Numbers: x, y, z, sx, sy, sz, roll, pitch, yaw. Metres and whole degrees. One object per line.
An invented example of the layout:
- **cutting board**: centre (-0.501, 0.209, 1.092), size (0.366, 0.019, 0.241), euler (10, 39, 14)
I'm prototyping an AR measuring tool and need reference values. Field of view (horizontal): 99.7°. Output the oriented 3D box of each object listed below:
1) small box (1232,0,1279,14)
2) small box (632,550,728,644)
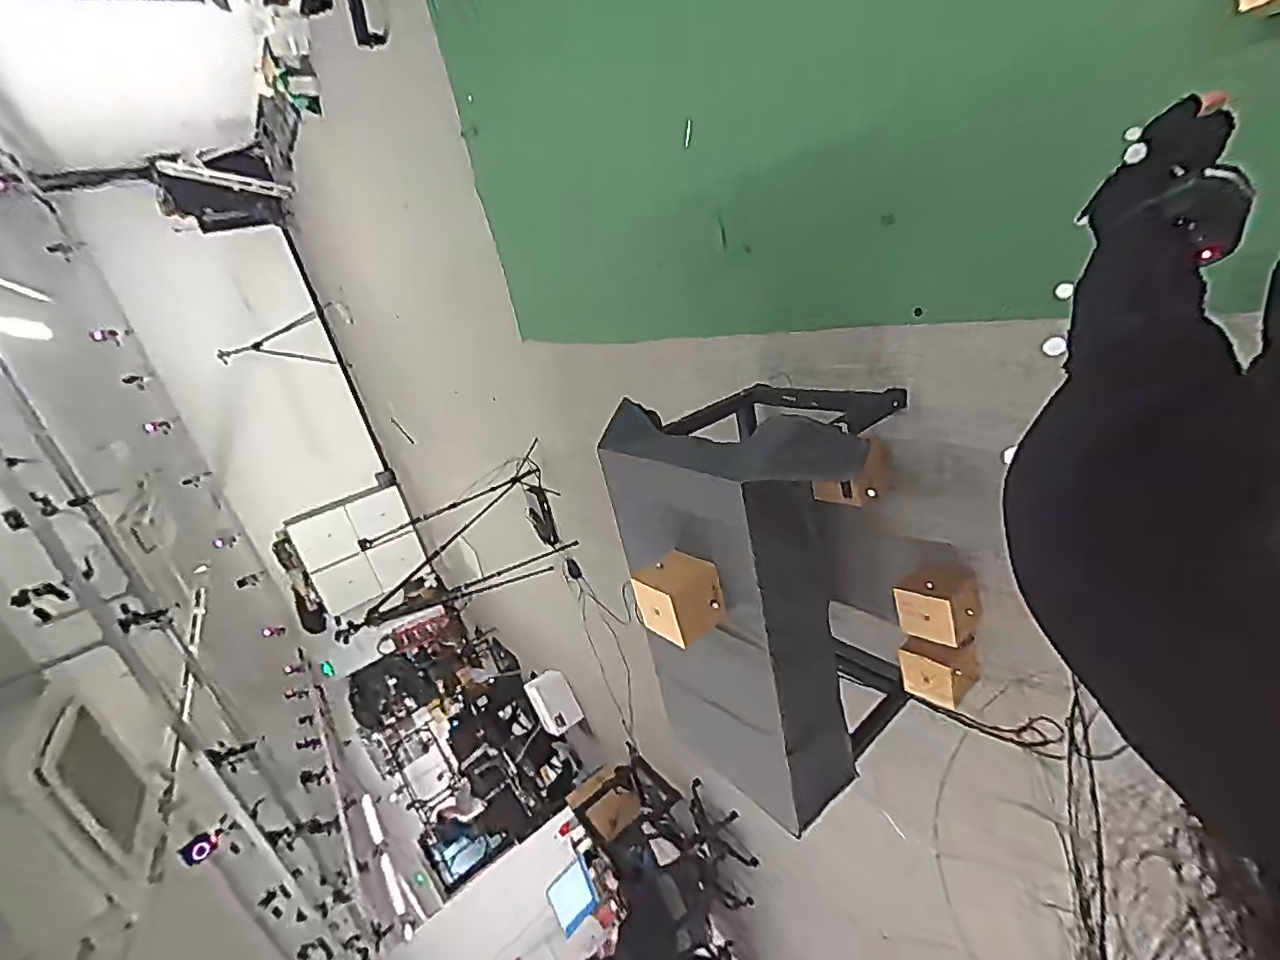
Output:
- **small box**: centre (0.967, -0.789, 0.744), size (0.168, 0.176, 0.179), euler (14, 126, 53)
- **small box**: centre (0.110, 0.308, 1.472), size (0.179, 0.176, 0.168), euler (12, 124, 53)
